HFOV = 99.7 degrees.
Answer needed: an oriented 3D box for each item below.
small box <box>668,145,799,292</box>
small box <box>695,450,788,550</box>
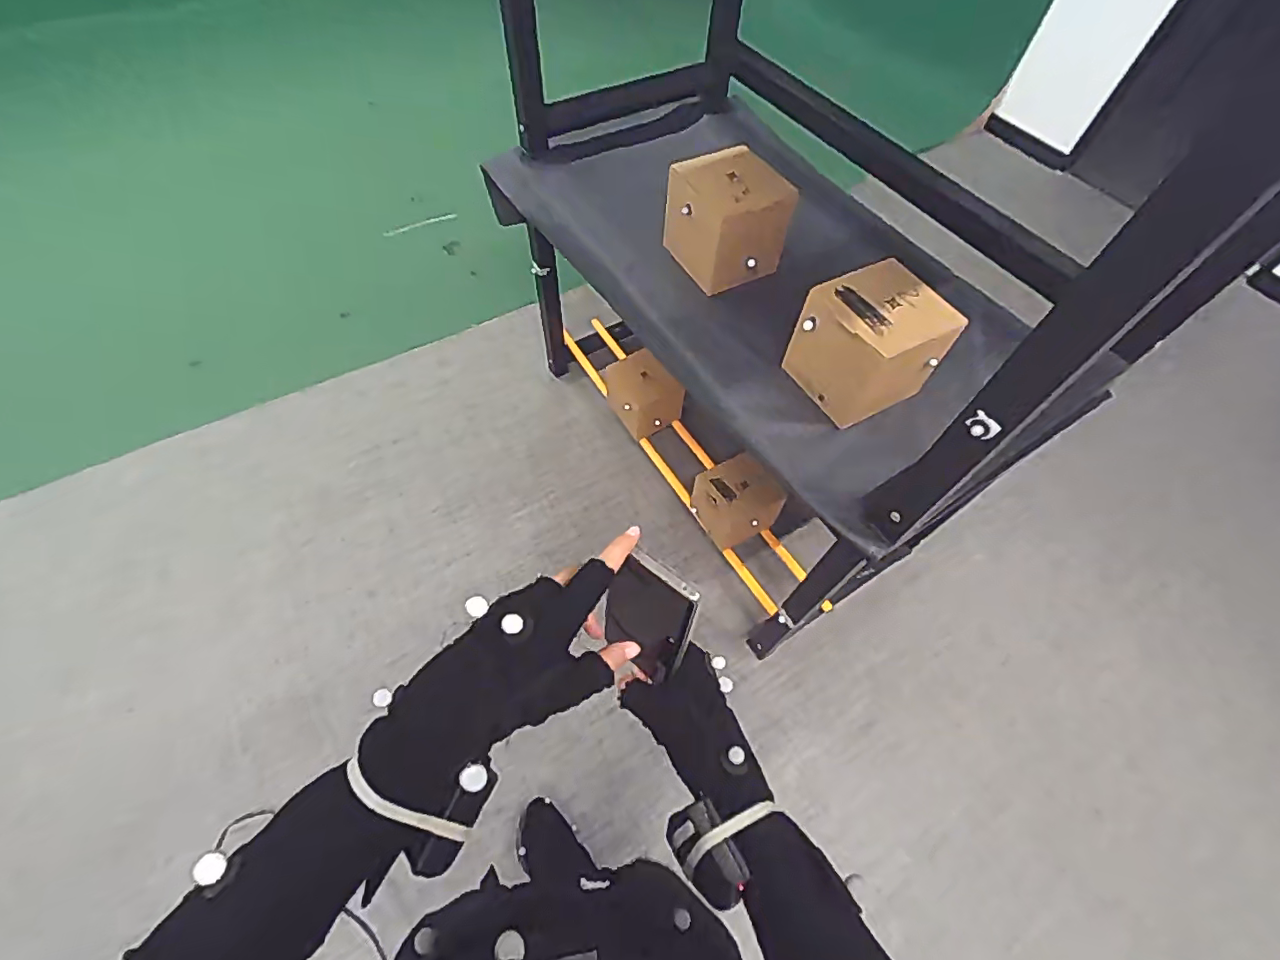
[{"bbox_3d":[0.165,-0.493,1.027,0.168,0.176,0.179,-25,63,-16],"label":"small box"},{"bbox_3d":[0.258,0.058,1.427,0.179,0.176,0.168,-25,63,-16],"label":"small box"}]
